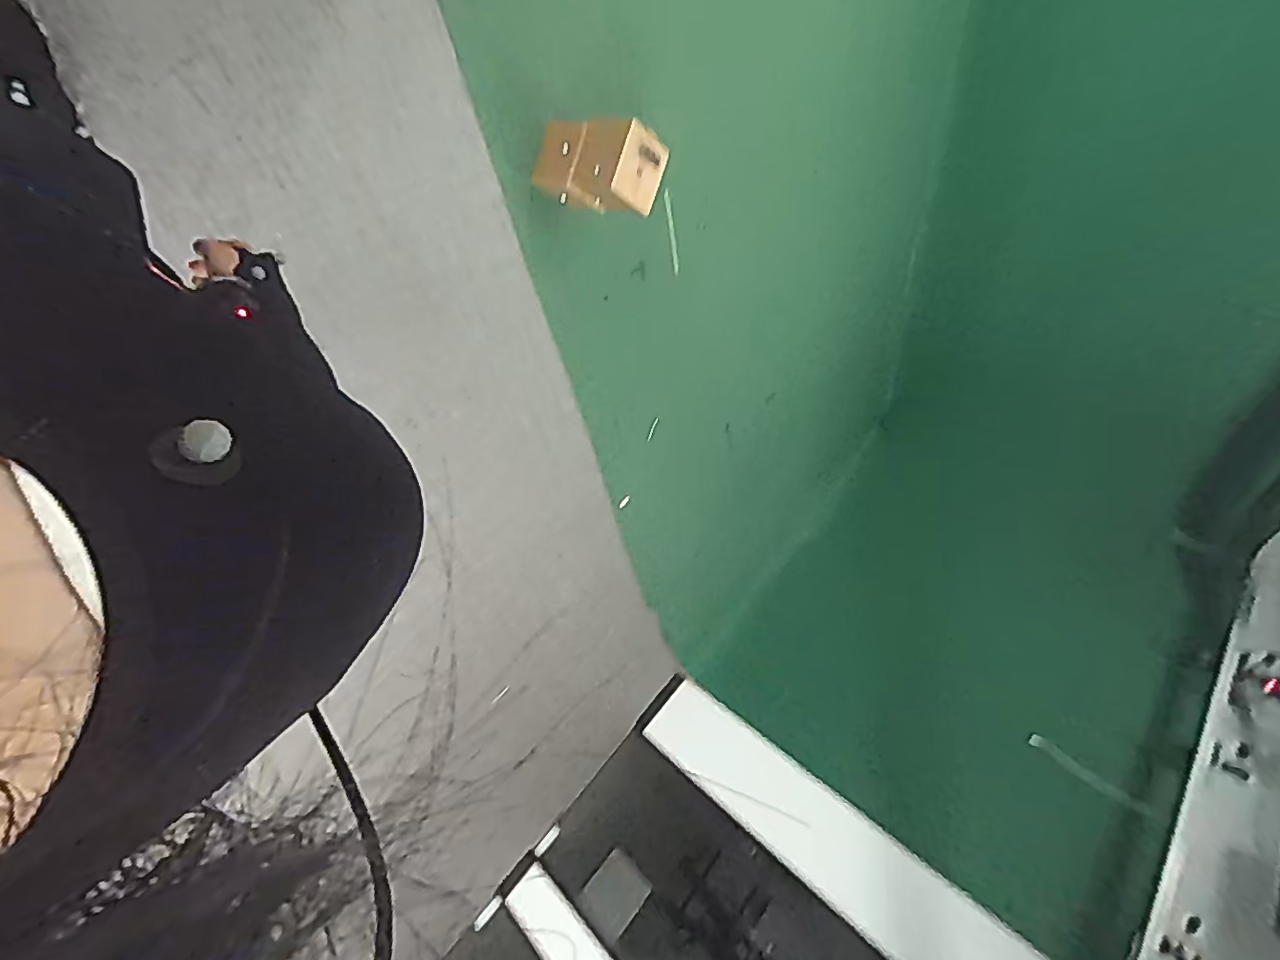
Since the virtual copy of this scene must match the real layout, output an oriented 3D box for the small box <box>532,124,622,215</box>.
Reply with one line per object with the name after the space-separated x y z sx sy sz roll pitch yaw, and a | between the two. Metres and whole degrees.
-0.189 -0.904 1.577 0.168 0.176 0.179 6 108 -53 | small box
